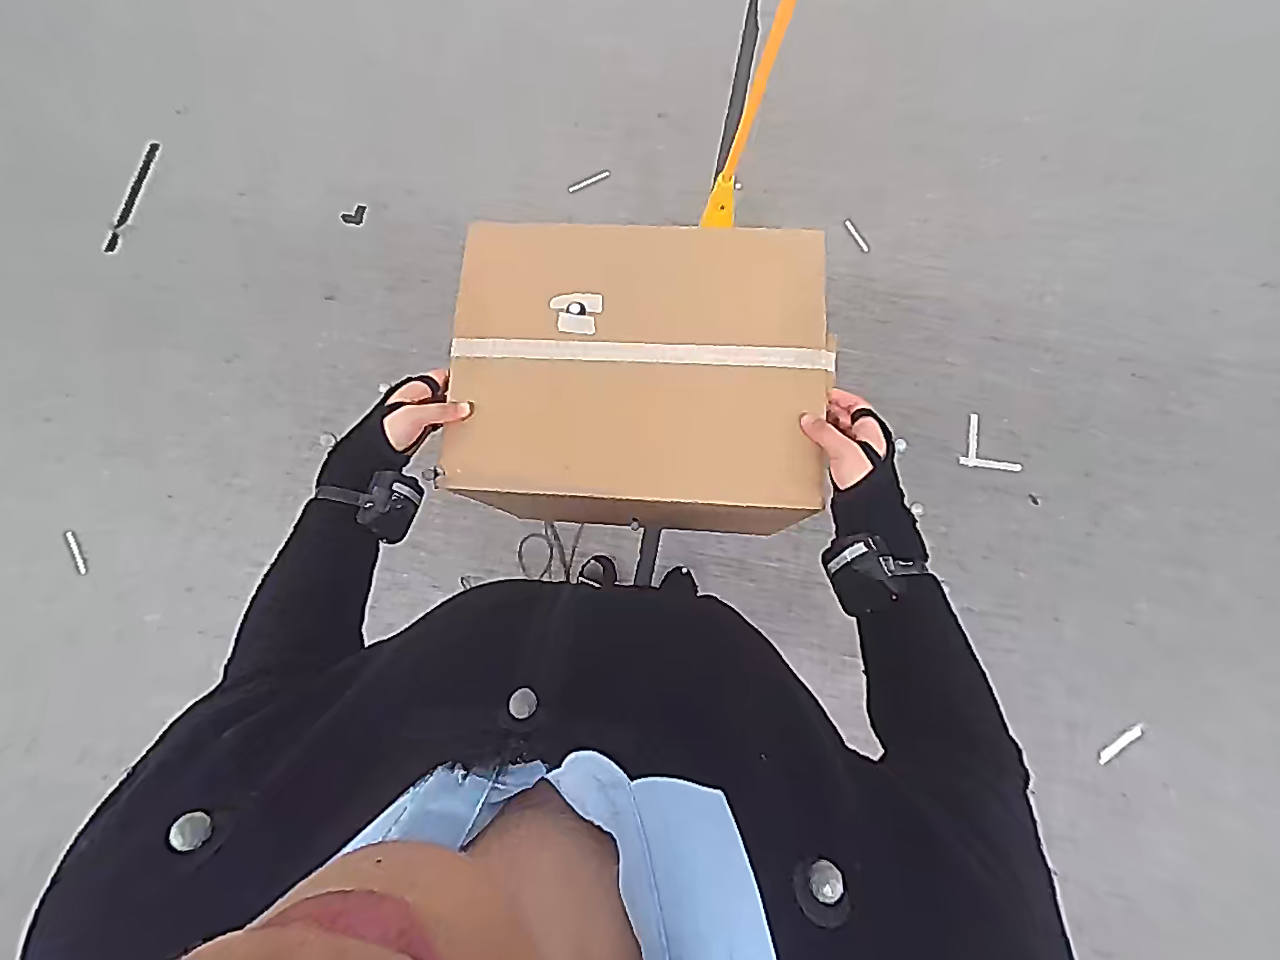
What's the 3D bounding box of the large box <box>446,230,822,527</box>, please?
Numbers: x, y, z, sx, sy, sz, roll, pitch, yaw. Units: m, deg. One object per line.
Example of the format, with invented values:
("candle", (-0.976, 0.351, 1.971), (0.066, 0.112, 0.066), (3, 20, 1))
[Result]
("large box", (0.008, -0.107, 0.737), (0.408, 0.320, 0.320), (3, 78, 5))
